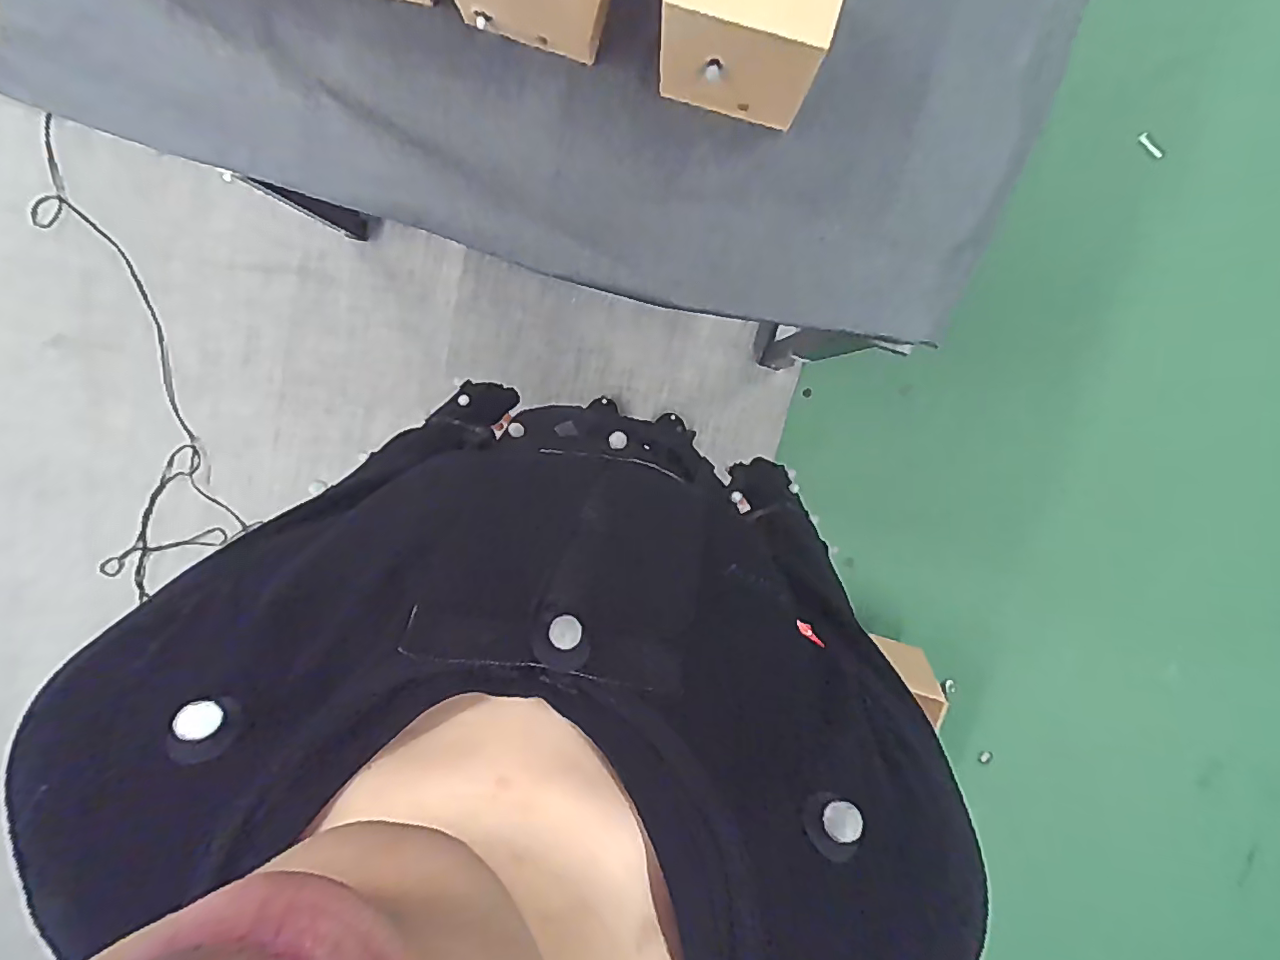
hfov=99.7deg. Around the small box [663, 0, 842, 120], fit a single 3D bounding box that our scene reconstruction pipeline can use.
[{"bbox_3d":[0.126,-0.523,0.568,0.168,0.176,0.179,15,99,-1],"label":"small box"}]
